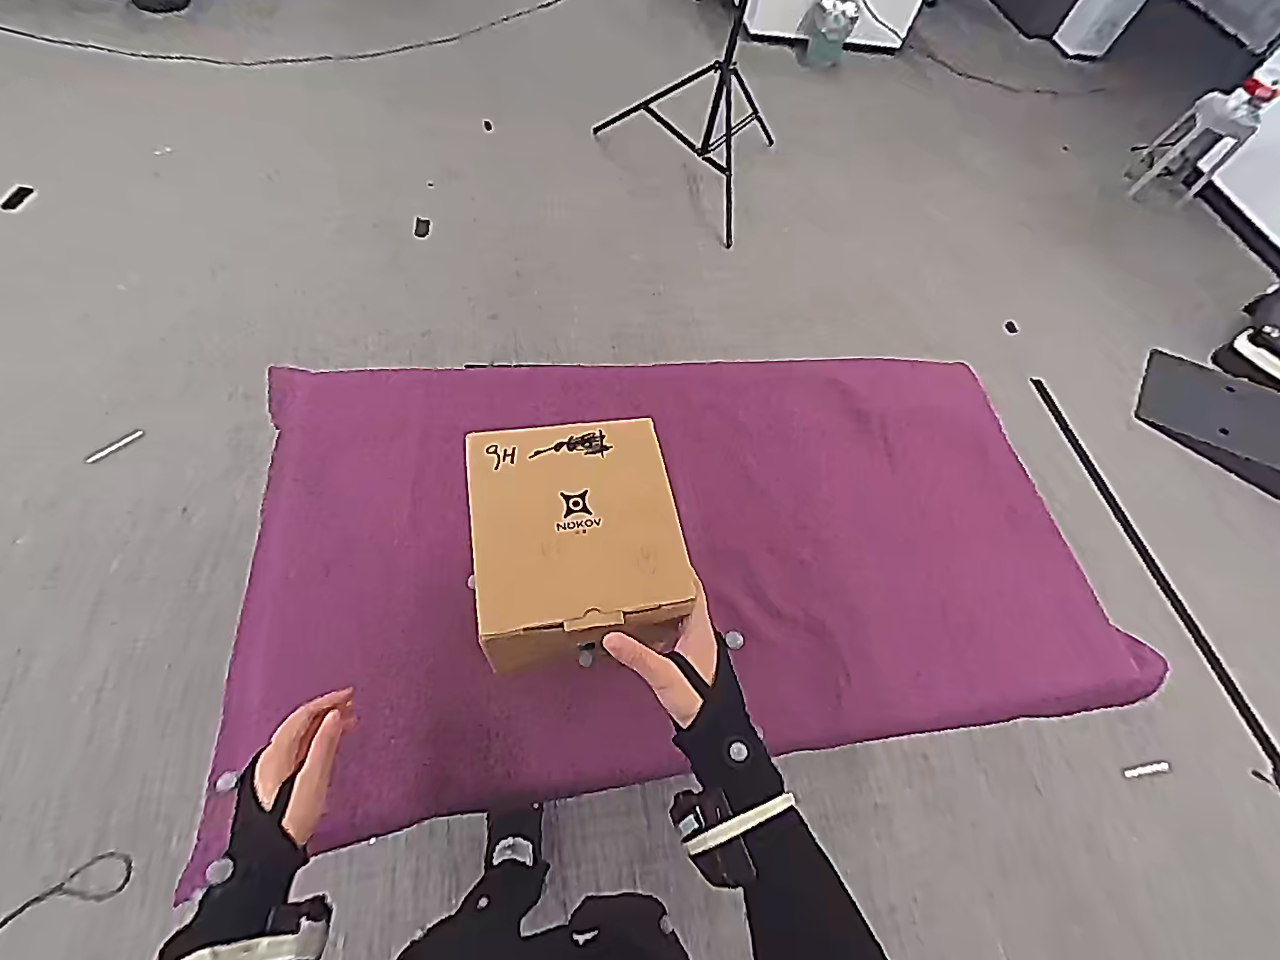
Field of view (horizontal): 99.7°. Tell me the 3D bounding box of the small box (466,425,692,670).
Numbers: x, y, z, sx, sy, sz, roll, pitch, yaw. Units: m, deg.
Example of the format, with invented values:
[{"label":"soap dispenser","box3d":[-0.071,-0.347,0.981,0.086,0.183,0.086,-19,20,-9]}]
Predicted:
[{"label":"small box","box3d":[-0.064,0.072,0.508,0.168,0.176,0.179,-7,63,-13]}]
